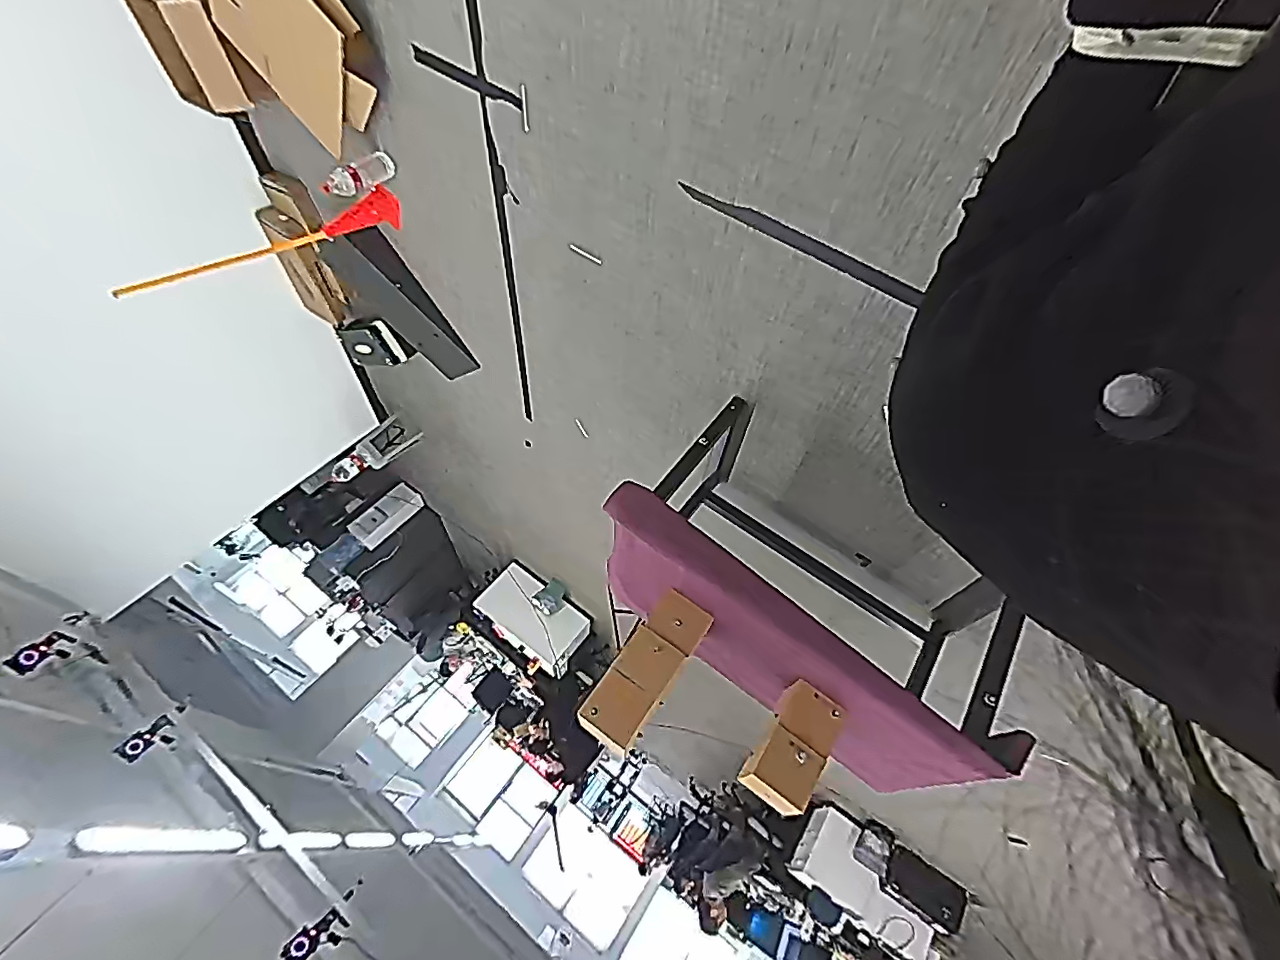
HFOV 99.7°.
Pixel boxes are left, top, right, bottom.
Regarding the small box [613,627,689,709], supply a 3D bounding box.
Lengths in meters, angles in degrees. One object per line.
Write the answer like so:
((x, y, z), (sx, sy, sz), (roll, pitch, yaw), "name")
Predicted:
((0.033, 0.593, 1.731), (0.179, 0.176, 0.168), (31, 150, 19), "small box")

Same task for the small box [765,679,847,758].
((0.520, 0.748, 1.686), (0.168, 0.176, 0.179), (34, 151, 15), "small box")

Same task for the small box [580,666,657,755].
((-0.062, 0.705, 1.658), (0.179, 0.176, 0.168), (31, 149, 19), "small box")

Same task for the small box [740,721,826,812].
((0.424, 0.845, 1.598), (0.168, 0.176, 0.179), (32, 149, 15), "small box")
